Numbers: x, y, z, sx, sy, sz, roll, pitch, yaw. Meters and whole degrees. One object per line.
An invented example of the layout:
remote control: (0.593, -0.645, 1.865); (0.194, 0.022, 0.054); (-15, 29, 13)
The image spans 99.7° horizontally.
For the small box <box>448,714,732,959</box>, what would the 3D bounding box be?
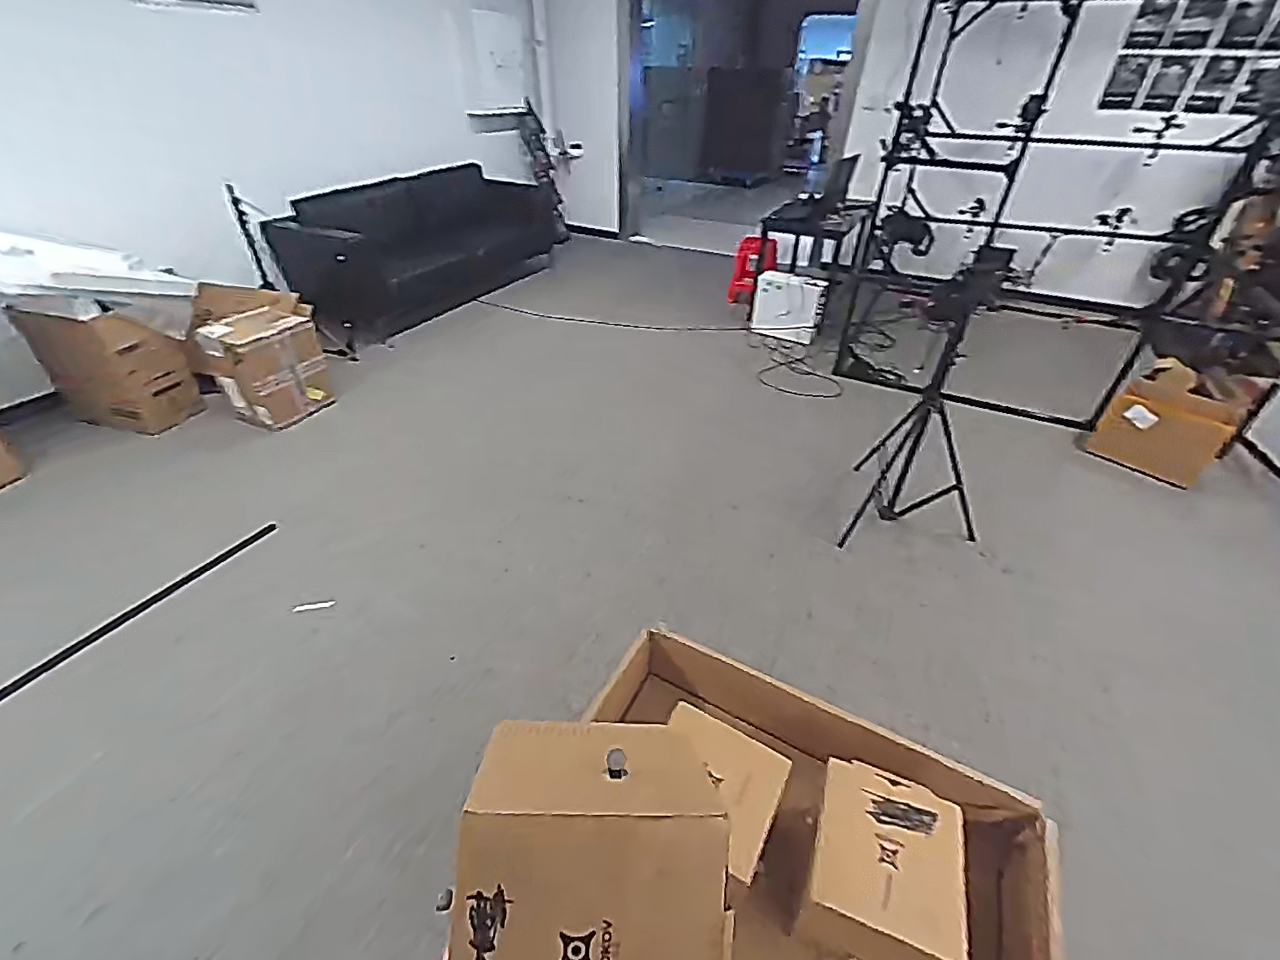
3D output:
small box: (-0.043, 0.292, 0.419); (0.179, 0.168, 0.176); (5, -7, -9)
